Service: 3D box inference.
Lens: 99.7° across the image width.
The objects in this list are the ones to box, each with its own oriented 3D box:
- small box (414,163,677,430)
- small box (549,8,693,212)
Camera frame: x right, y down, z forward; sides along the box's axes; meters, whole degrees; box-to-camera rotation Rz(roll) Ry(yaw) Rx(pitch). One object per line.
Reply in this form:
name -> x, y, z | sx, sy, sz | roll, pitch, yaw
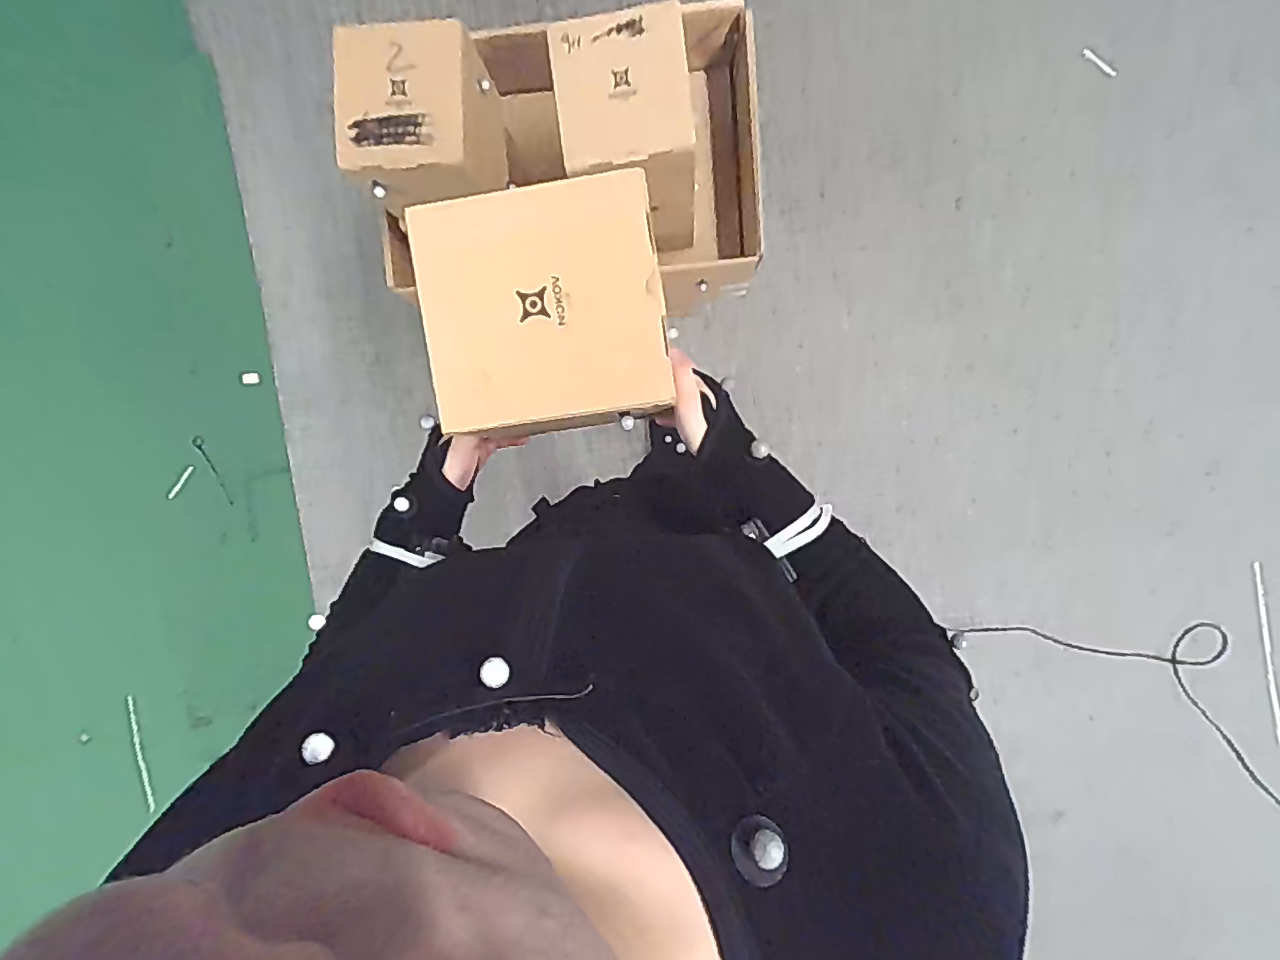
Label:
small box -> -0.064, -0.137, 0.469 | 0.179, 0.176, 0.168 | -8, 94, 3
small box -> -0.016, -0.477, 0.738 | 0.168, 0.176, 0.179 | -6, 94, 5
